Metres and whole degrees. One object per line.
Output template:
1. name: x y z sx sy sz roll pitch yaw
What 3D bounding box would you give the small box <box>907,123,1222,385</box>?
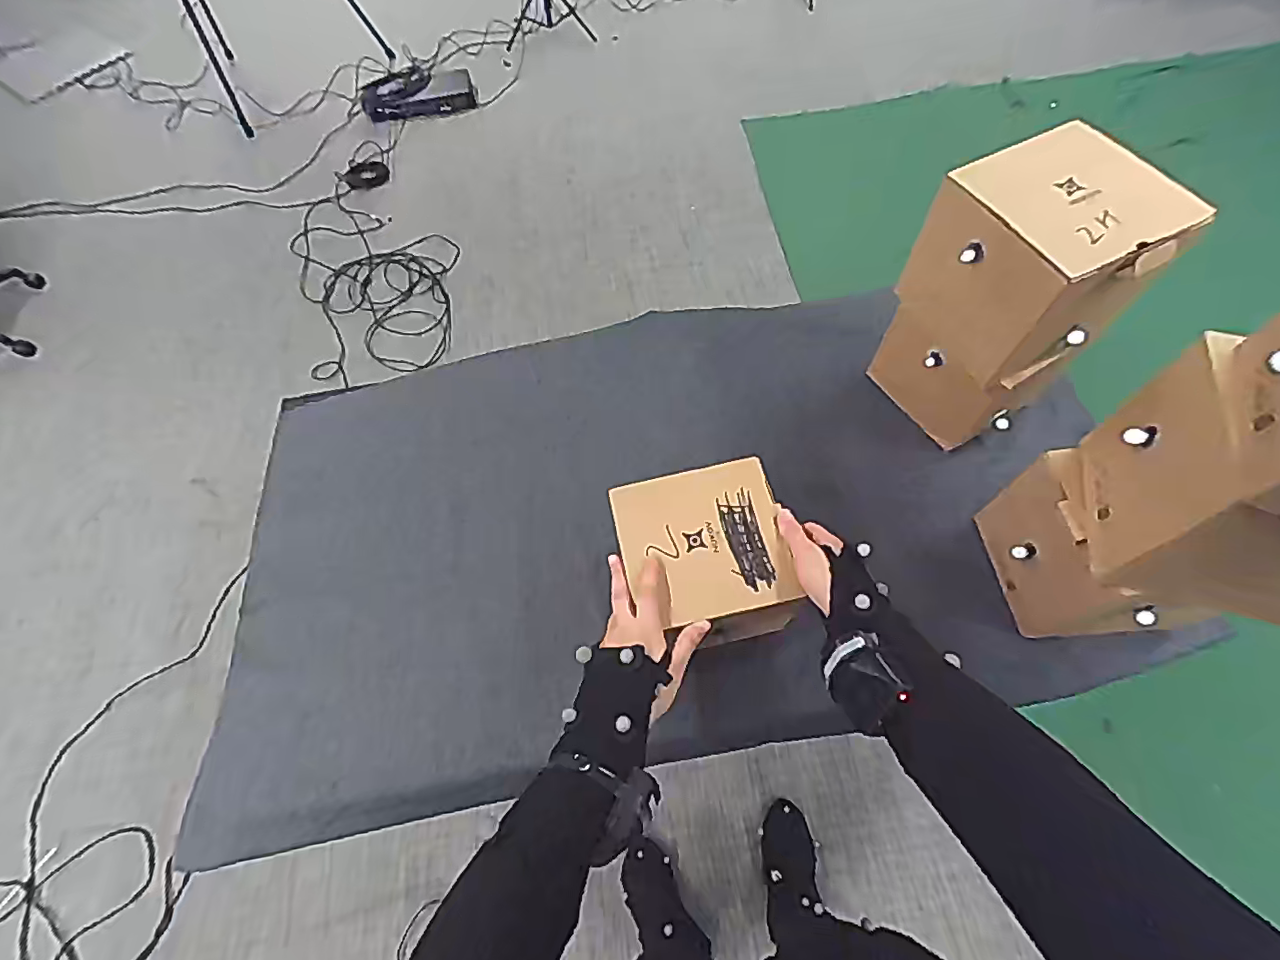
1. small box: 0.432 -0.238 0.593 0.168 0.176 0.179 -24 65 -5

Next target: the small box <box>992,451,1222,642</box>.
1. small box: 0.534 0.078 0.607 0.179 0.176 0.168 -5 60 3

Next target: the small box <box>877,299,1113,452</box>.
1. small box: 0.462 -0.171 0.742 0.168 0.176 0.179 -31 67 -8

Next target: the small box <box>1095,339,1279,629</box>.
1. small box: 0.528 0.012 0.457 0.179 0.176 0.168 14 62 12
